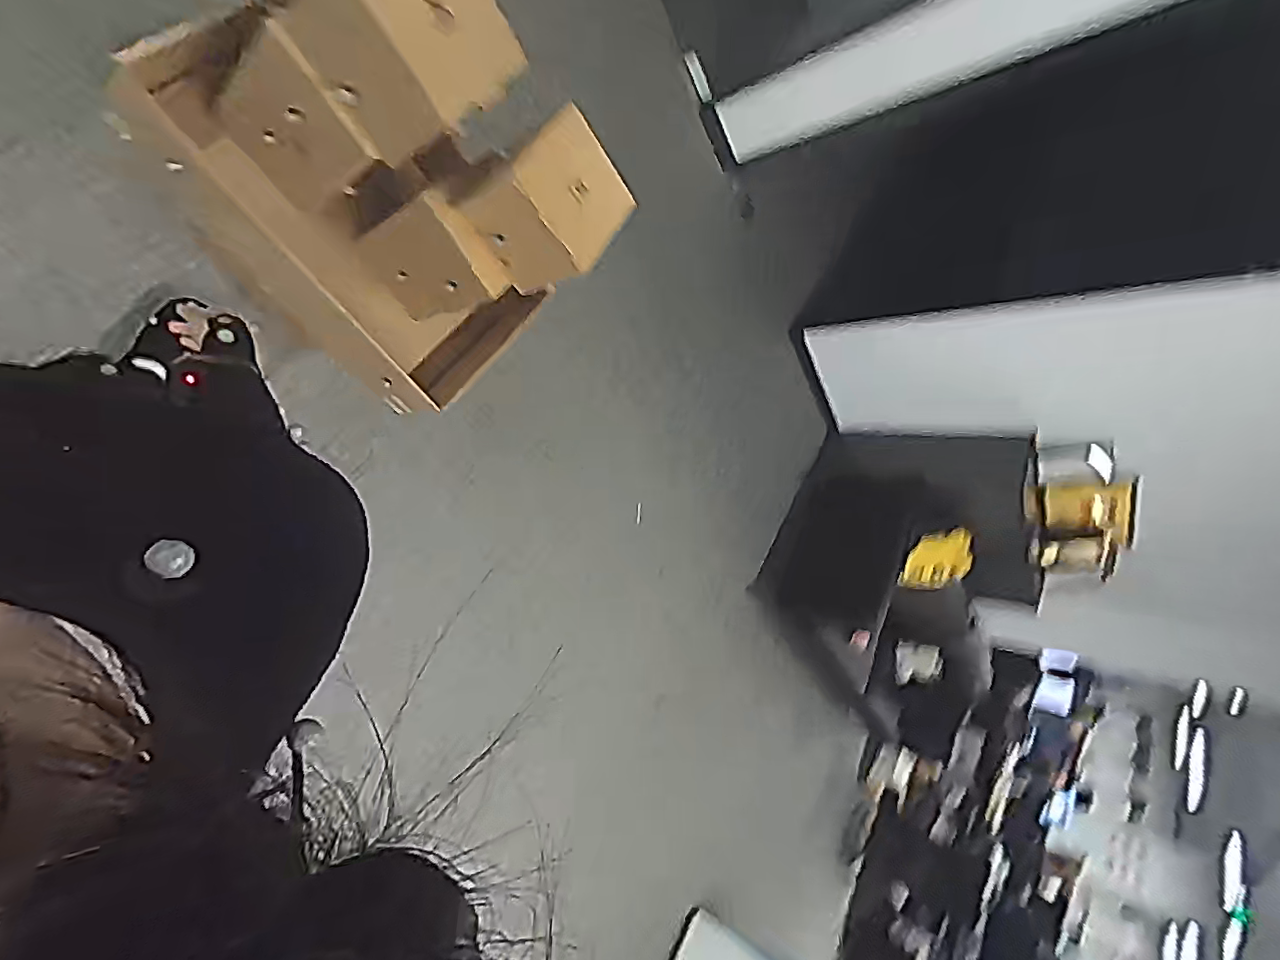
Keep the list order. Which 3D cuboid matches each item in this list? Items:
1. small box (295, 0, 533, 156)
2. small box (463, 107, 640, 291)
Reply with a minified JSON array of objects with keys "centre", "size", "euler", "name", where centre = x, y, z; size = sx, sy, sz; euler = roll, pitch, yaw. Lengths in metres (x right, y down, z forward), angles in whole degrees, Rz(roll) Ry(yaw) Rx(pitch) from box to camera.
[{"centre":[-0.275,-0.535,0.669],"size":[0.168,0.176,0.179],"euler":[-57,131,-25],"name":"small box"},{"centre":[-0.137,-0.422,0.836],"size":[0.168,0.176,0.179],"euler":[47,61,-38],"name":"small box"}]
